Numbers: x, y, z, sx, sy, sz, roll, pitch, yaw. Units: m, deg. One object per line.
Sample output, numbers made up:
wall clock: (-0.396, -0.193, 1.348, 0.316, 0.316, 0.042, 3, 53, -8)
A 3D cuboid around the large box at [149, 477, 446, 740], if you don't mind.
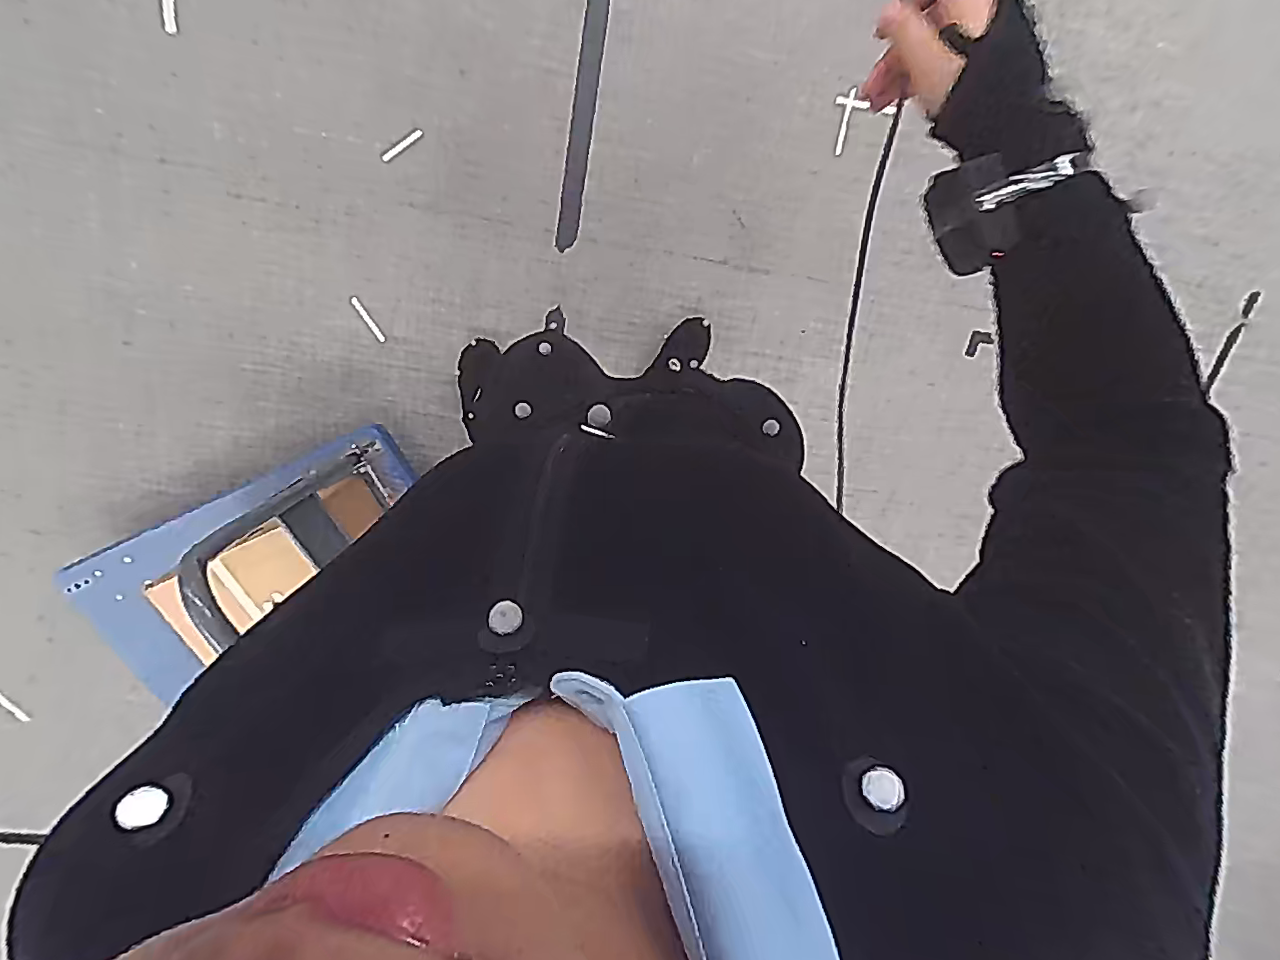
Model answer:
large box: (-0.696, 0.263, 1.186, 0.320, 0.320, 0.408, -25, 107, 2)
